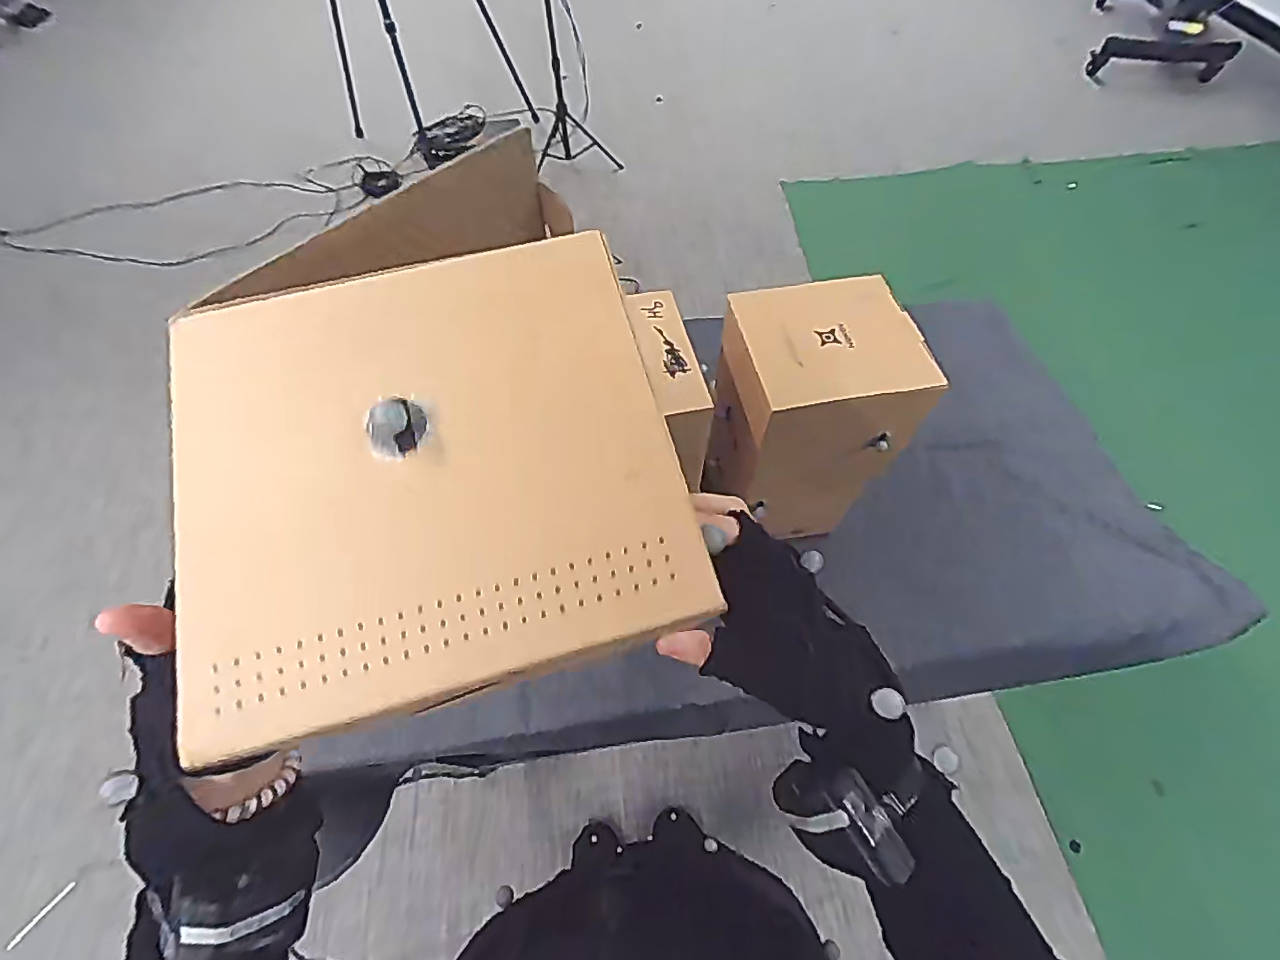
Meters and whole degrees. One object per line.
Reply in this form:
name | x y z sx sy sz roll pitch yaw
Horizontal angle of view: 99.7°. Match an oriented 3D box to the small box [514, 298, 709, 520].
small box | -0.031 -0.072 0.609 0.179 0.176 0.168 -12 60 -5
